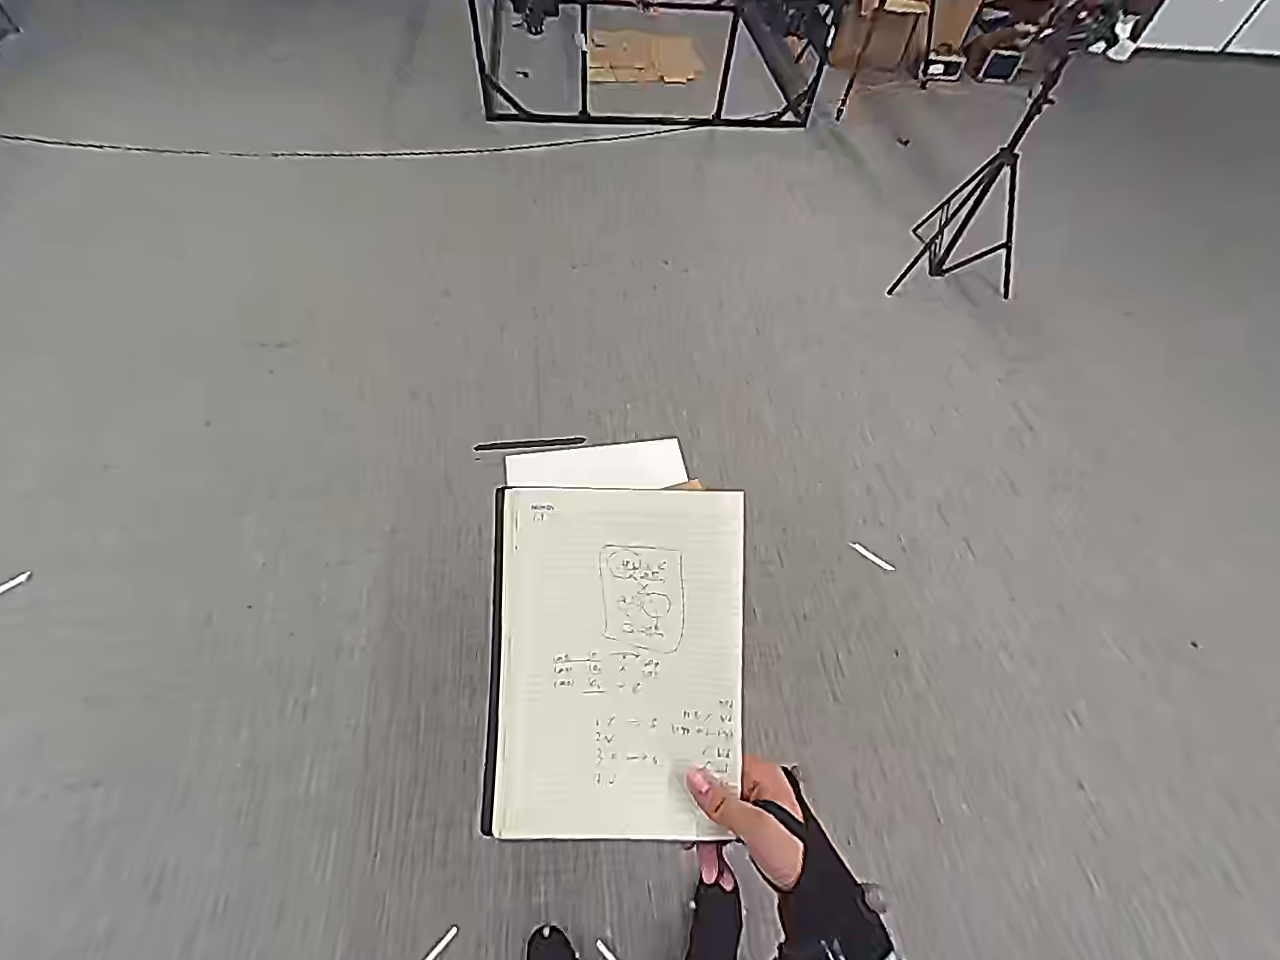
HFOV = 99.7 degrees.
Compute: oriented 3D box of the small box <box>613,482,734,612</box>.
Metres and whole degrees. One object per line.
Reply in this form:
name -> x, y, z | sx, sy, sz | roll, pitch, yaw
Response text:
small box -> 0.053, 0.130, 1.027 | 0.179, 0.176, 0.168 | -14, 59, -13
